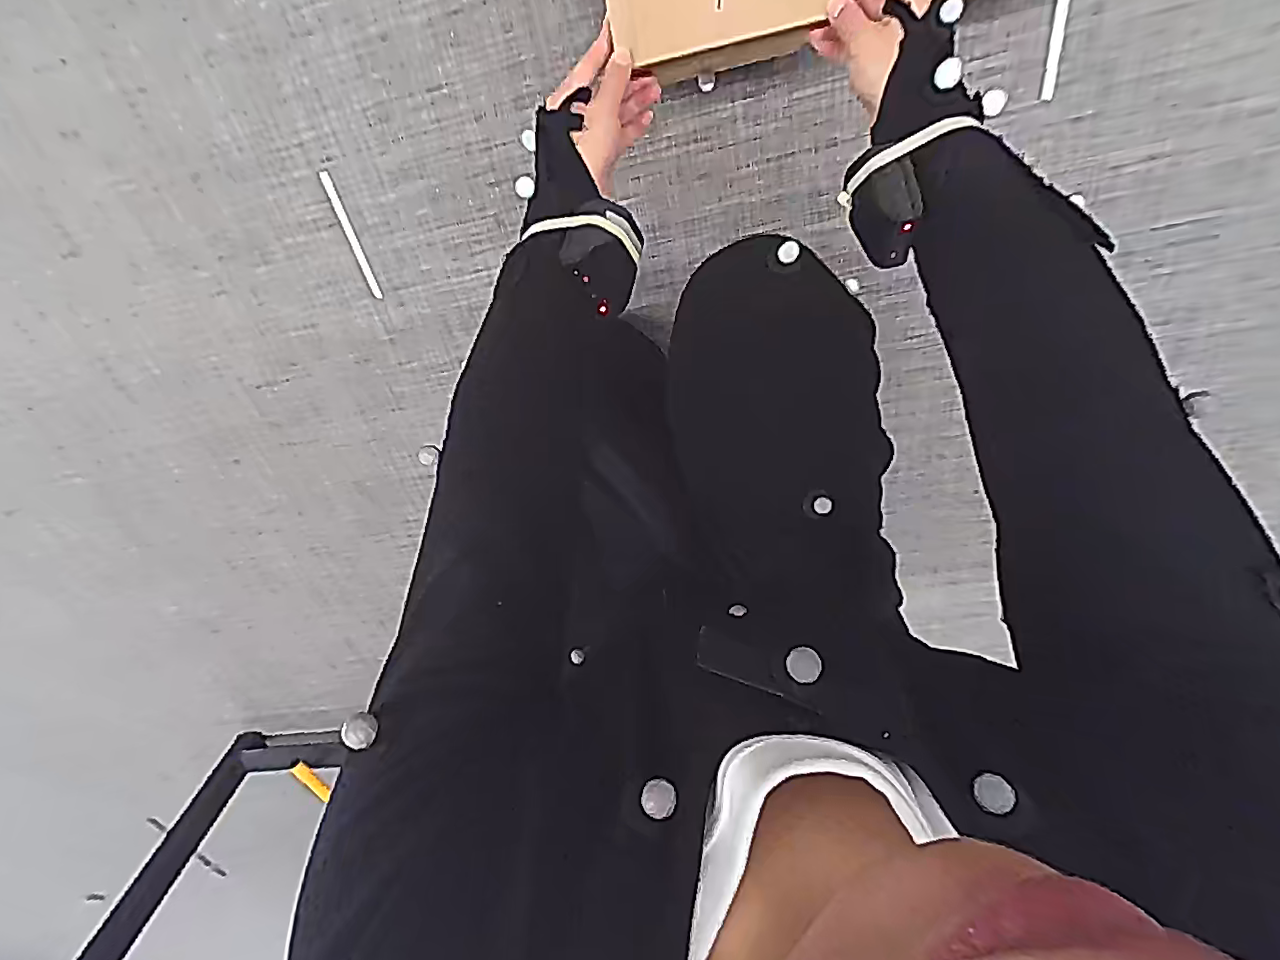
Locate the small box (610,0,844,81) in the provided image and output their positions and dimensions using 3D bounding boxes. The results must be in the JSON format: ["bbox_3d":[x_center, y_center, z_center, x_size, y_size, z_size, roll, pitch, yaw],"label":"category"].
[{"bbox_3d":[0.050,-0.436,0.415,0.168,0.176,0.179,-9,122,7],"label":"small box"}]

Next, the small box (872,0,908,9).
[{"bbox_3d":[0.275,-0.496,0.404,0.168,0.176,0.179,-9,123,9],"label":"small box"}]
